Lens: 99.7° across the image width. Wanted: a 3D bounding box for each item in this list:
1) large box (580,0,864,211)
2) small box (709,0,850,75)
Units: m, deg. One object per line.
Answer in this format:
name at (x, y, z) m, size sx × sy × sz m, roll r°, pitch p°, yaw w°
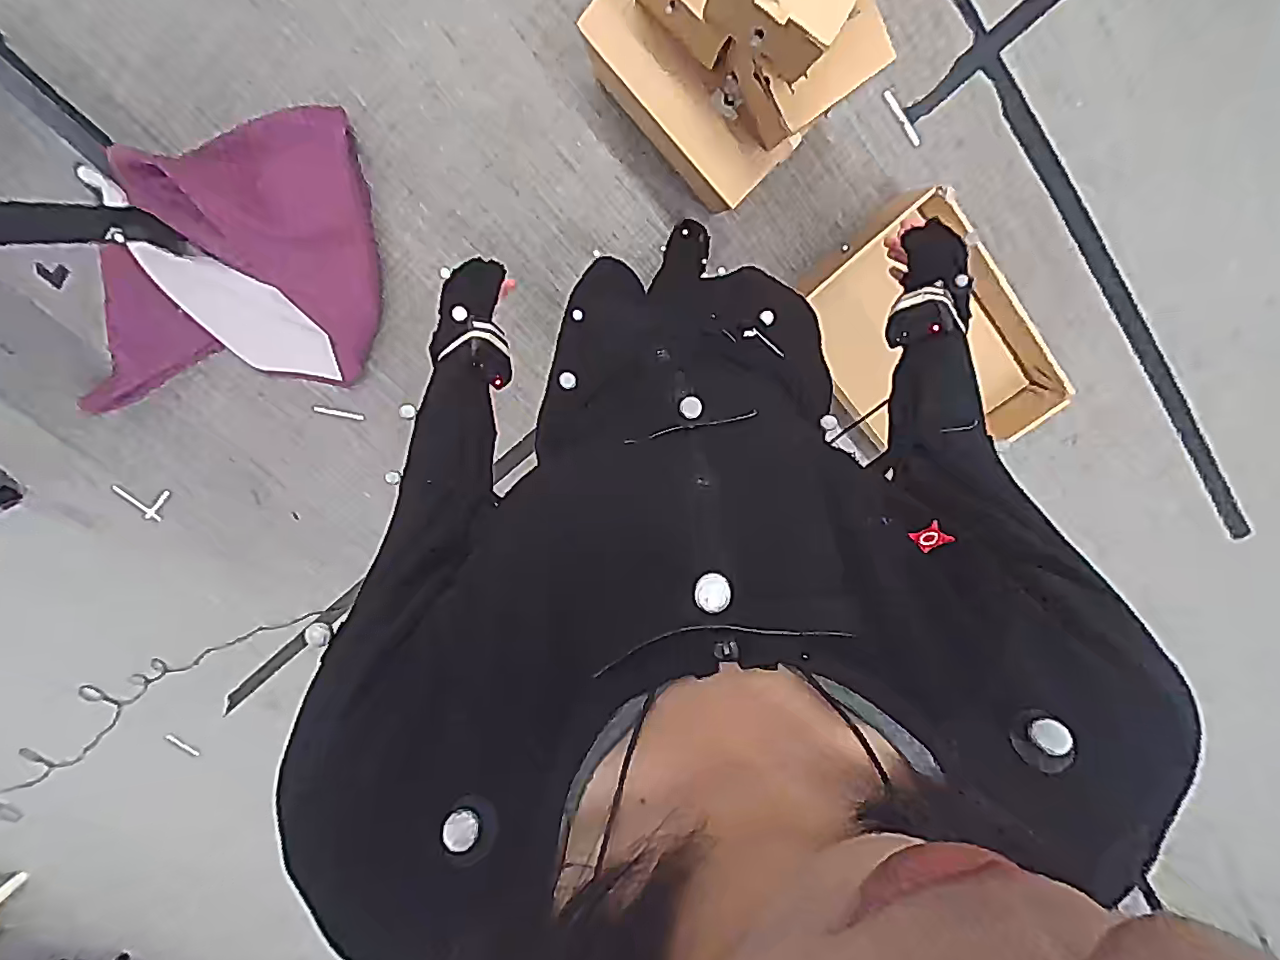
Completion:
large box at (0.141, -0.802, 1.059) m, size 0.408 × 0.320 × 0.320 m, roll 41°, pitch 109°, yaw -16°
small box at (0.197, -0.658, 0.677) m, size 0.168 × 0.176 × 0.179 m, roll 29°, pitch 112°, yaw -11°
